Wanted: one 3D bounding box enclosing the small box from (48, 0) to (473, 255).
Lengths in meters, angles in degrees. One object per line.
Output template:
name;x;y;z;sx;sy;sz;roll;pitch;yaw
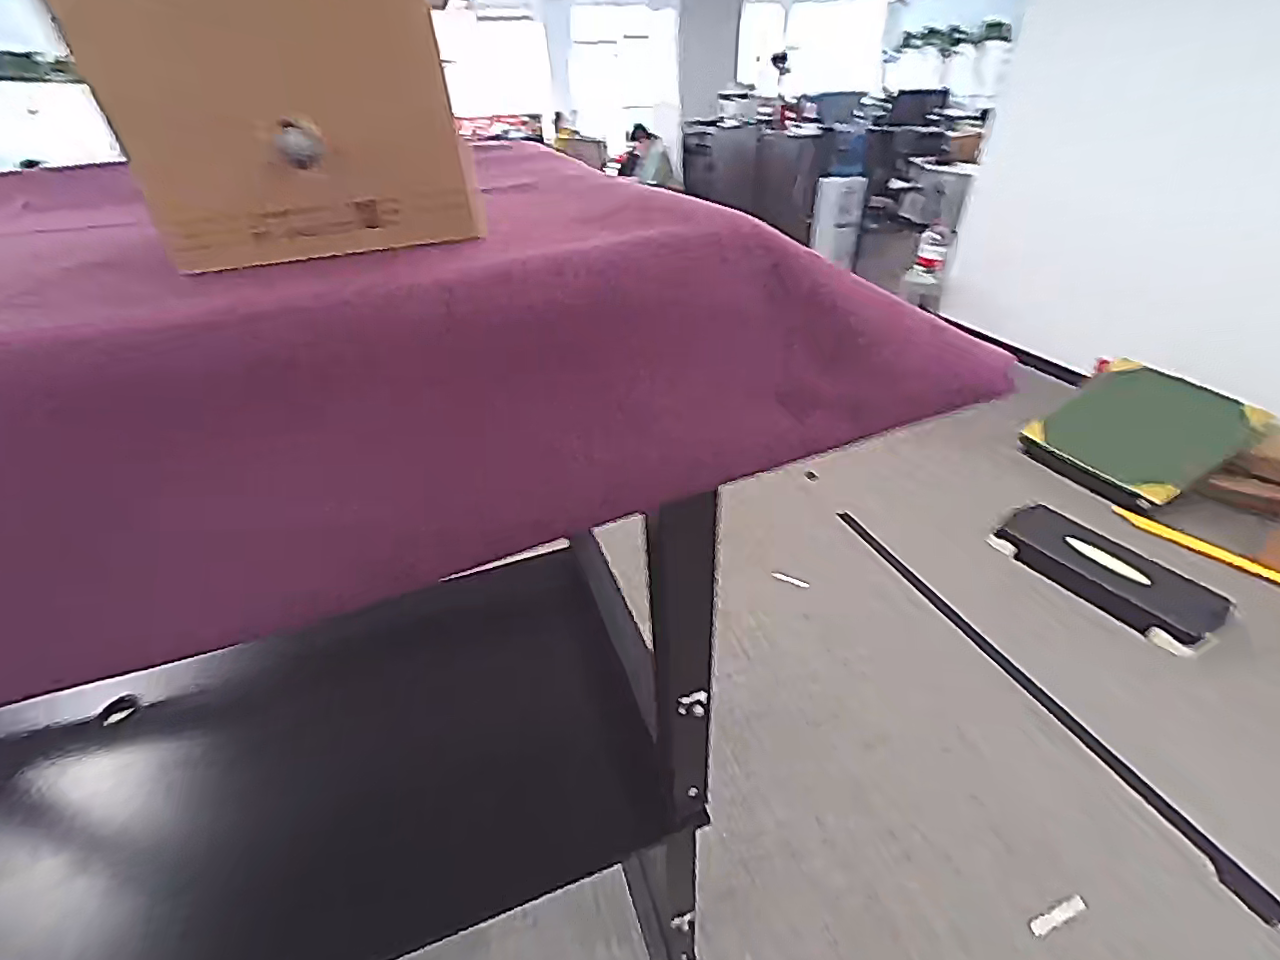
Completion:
small box;-0.205;-0.245;0.327;0.168;0.176;0.179;-13;37;-12
